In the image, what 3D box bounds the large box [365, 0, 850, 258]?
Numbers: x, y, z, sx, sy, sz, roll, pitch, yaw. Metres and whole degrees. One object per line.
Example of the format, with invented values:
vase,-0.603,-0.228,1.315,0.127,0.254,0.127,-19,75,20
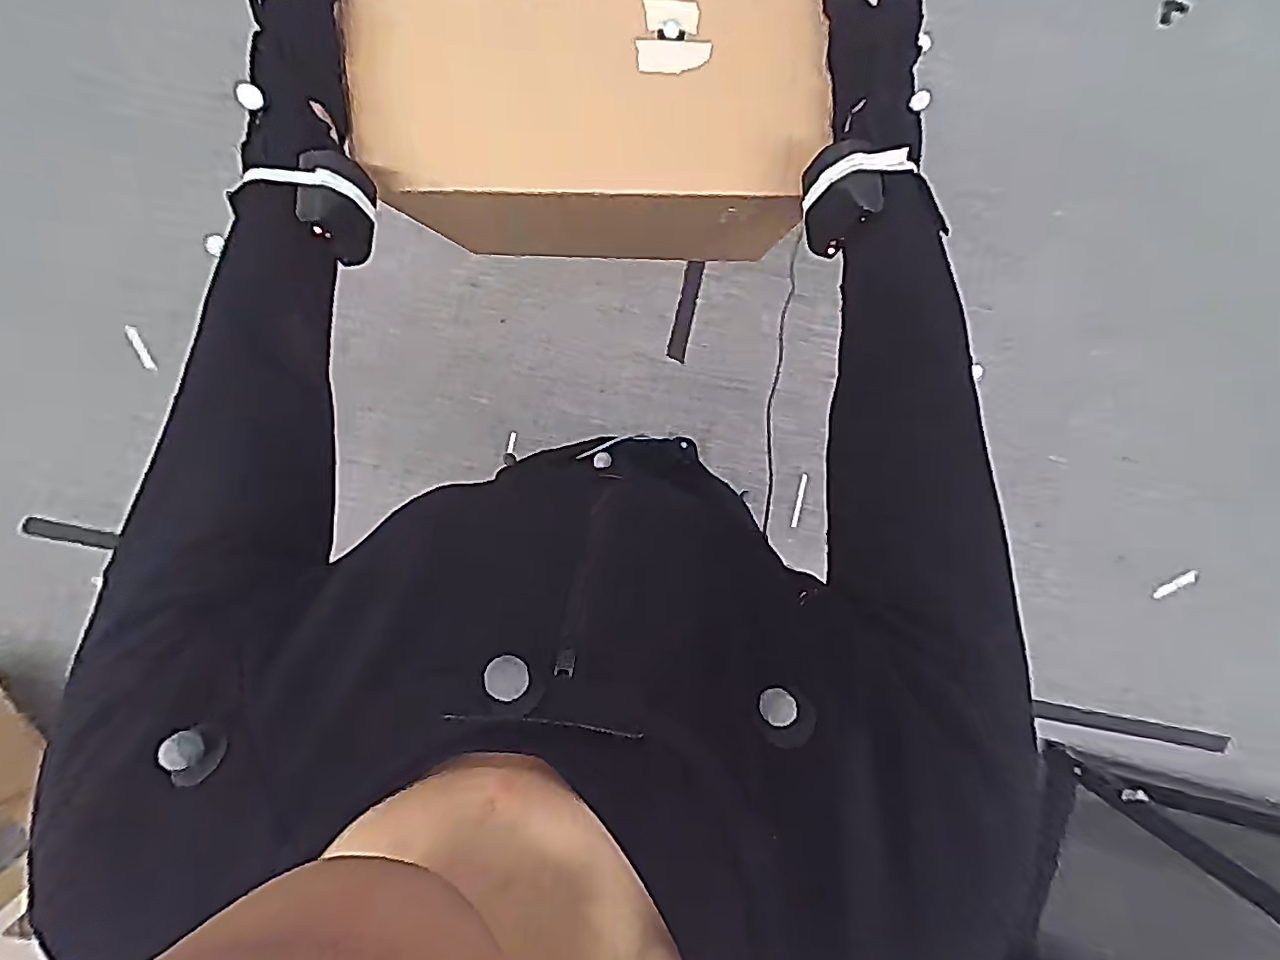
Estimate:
large box,-0.026,-0.431,0.584,0.408,0.320,0.320,2,103,1
